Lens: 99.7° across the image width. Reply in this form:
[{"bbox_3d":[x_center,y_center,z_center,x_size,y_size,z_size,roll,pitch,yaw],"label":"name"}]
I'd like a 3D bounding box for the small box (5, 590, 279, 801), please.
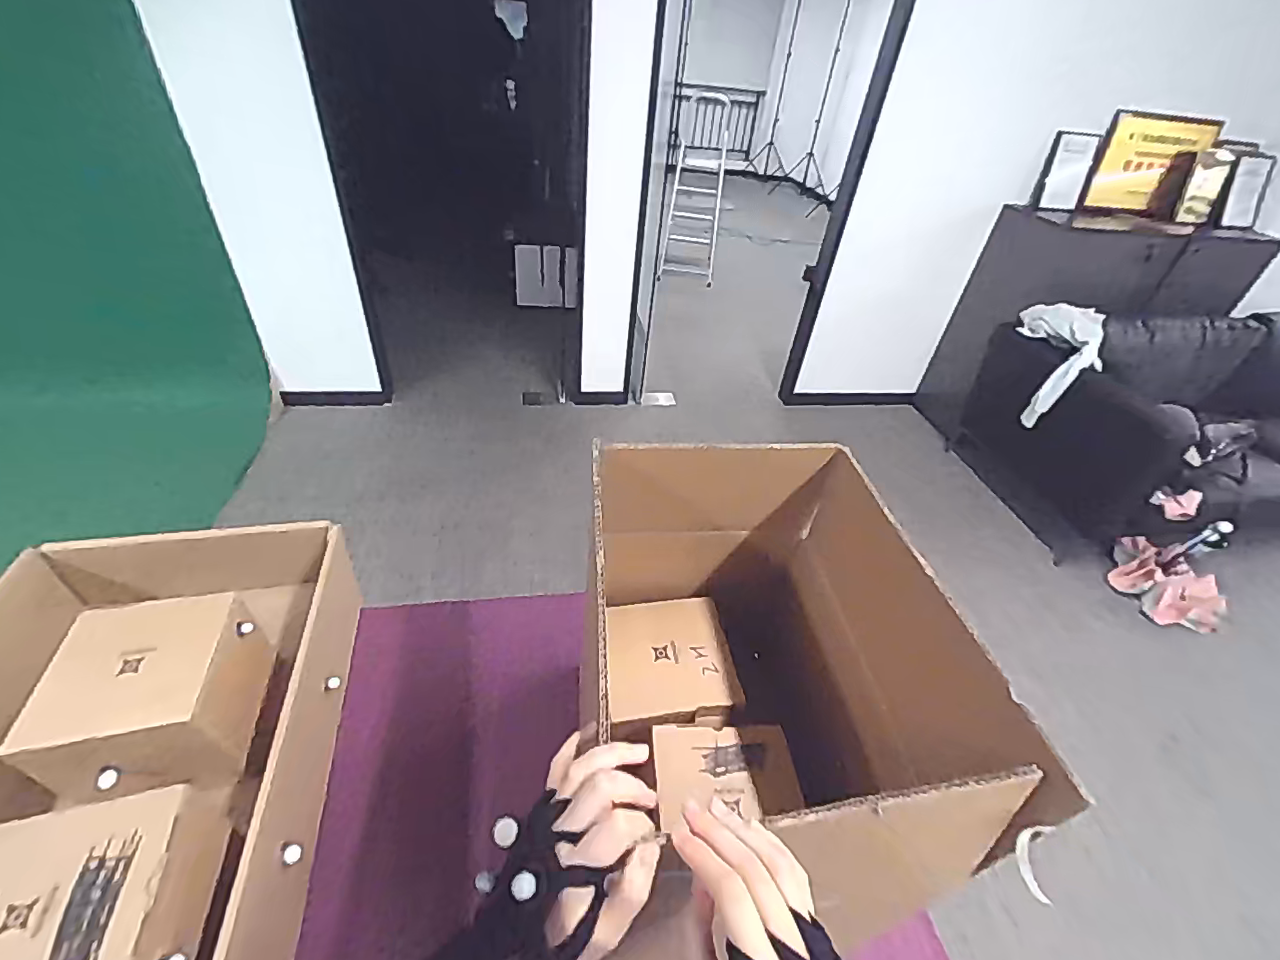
[{"bbox_3d":[-0.577,0.266,0.664,0.168,0.176,0.179,-7,41,-14],"label":"small box"}]
